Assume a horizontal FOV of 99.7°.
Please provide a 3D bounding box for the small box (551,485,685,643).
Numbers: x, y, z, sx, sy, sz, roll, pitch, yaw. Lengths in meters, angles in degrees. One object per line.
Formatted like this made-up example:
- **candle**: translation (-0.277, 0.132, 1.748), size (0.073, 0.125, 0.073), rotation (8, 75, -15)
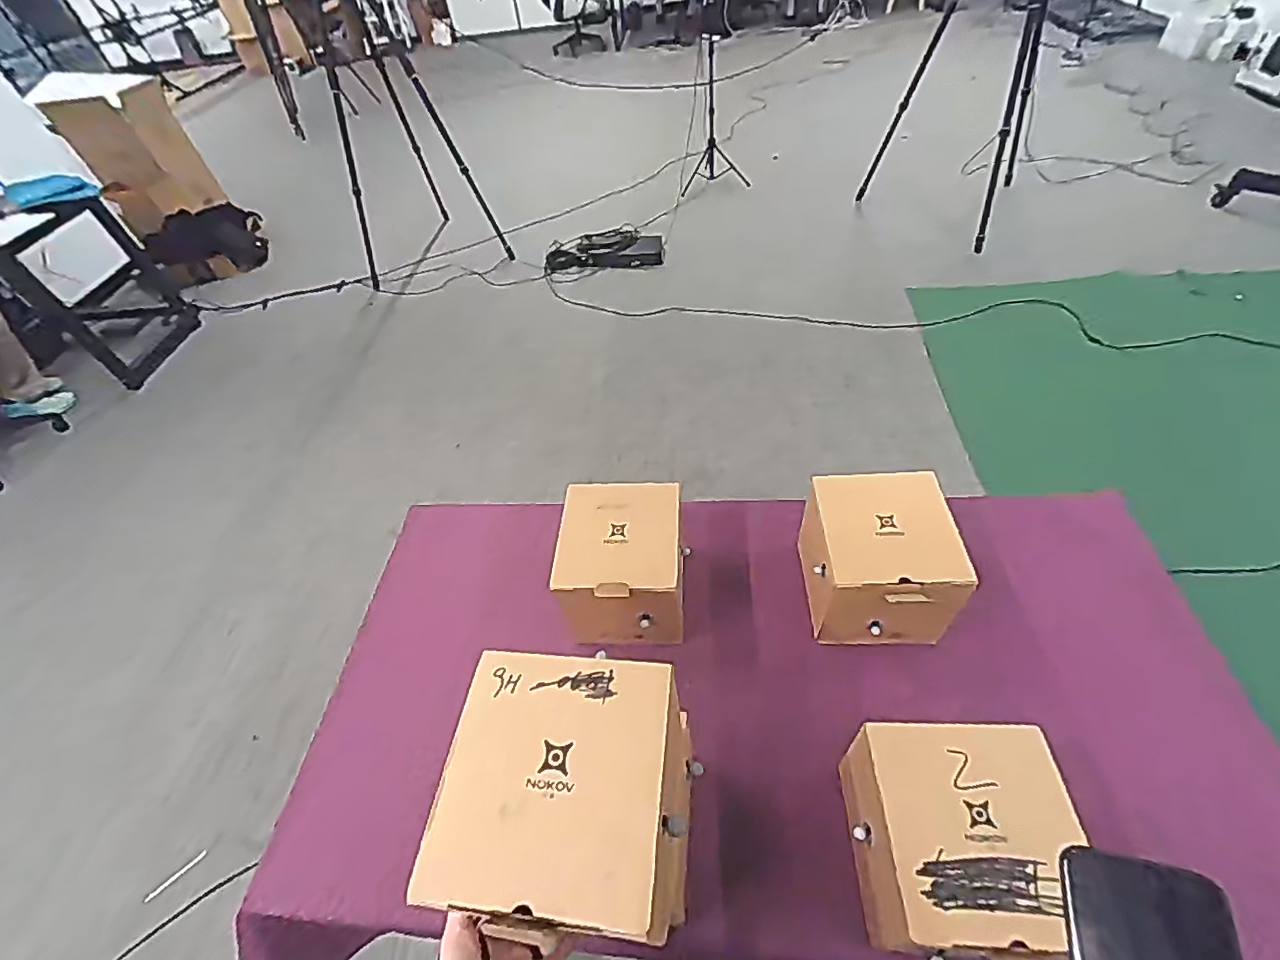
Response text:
- **small box**: translation (-0.020, 0.127, 0.794), size (0.168, 0.176, 0.179), rotation (-1, 50, 7)

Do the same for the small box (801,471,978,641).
- **small box**: translation (0.327, 0.108, 0.755), size (0.168, 0.176, 0.179), rotation (-4, 50, 6)

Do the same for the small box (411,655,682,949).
- **small box**: translation (-0.054, 0.268, 0.457), size (0.168, 0.176, 0.179), rotation (1, 51, 9)

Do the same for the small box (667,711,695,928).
- **small box**: translation (-0.029, 0.363, 0.590), size (0.168, 0.176, 0.179), rotation (0, 49, 10)
